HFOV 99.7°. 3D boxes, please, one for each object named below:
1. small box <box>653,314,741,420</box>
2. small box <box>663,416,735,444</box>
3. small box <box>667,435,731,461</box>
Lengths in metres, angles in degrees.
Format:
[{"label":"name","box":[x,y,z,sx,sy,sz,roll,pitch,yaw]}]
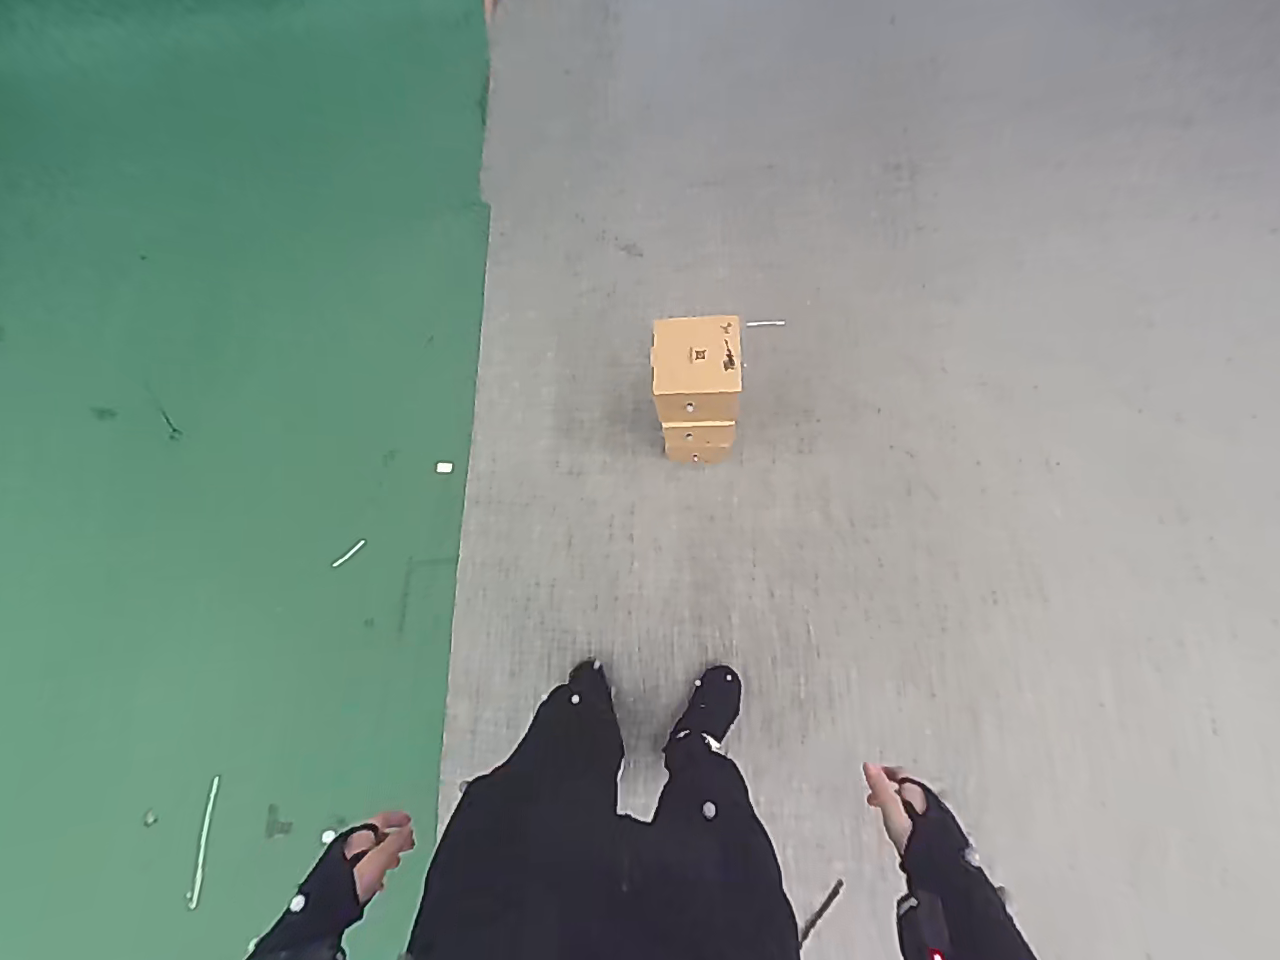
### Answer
[{"label":"small box","box":[0.125,-0.232,1.149,0.179,0.176,0.168,-1,77,8]},{"label":"small box","box":[0.146,-0.189,1.306,0.168,0.176,0.179,-2,77,7]},{"label":"small box","box":[0.164,-0.153,1.463,0.168,0.176,0.179,1,77,7]}]
